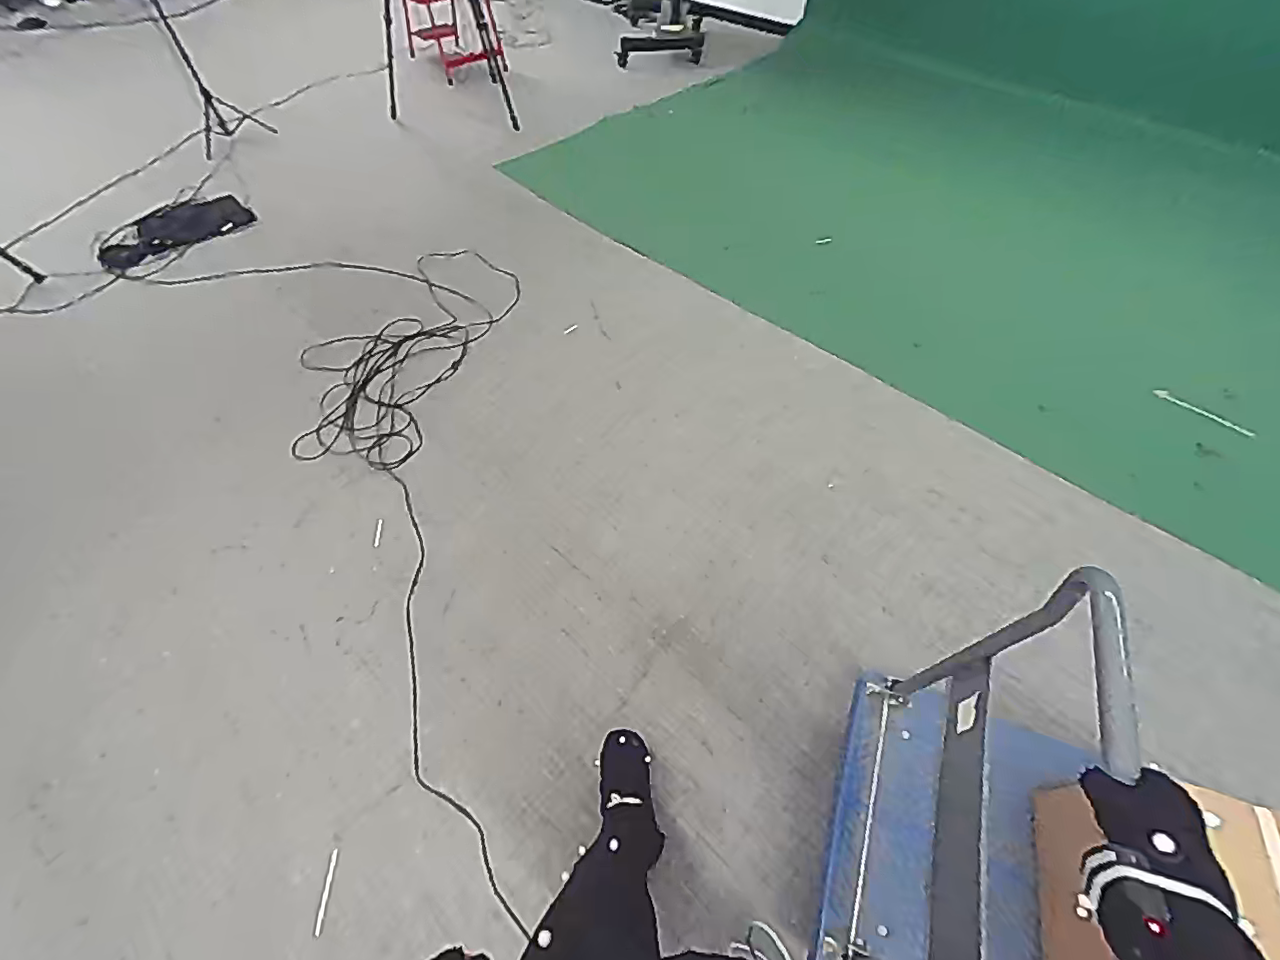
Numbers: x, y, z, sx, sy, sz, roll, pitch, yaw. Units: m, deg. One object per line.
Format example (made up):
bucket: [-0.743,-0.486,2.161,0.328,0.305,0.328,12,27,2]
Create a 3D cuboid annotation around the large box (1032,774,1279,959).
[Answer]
large box: [0.868,0.743,0.832,0.320,0.320,0.408,16,54,11]
